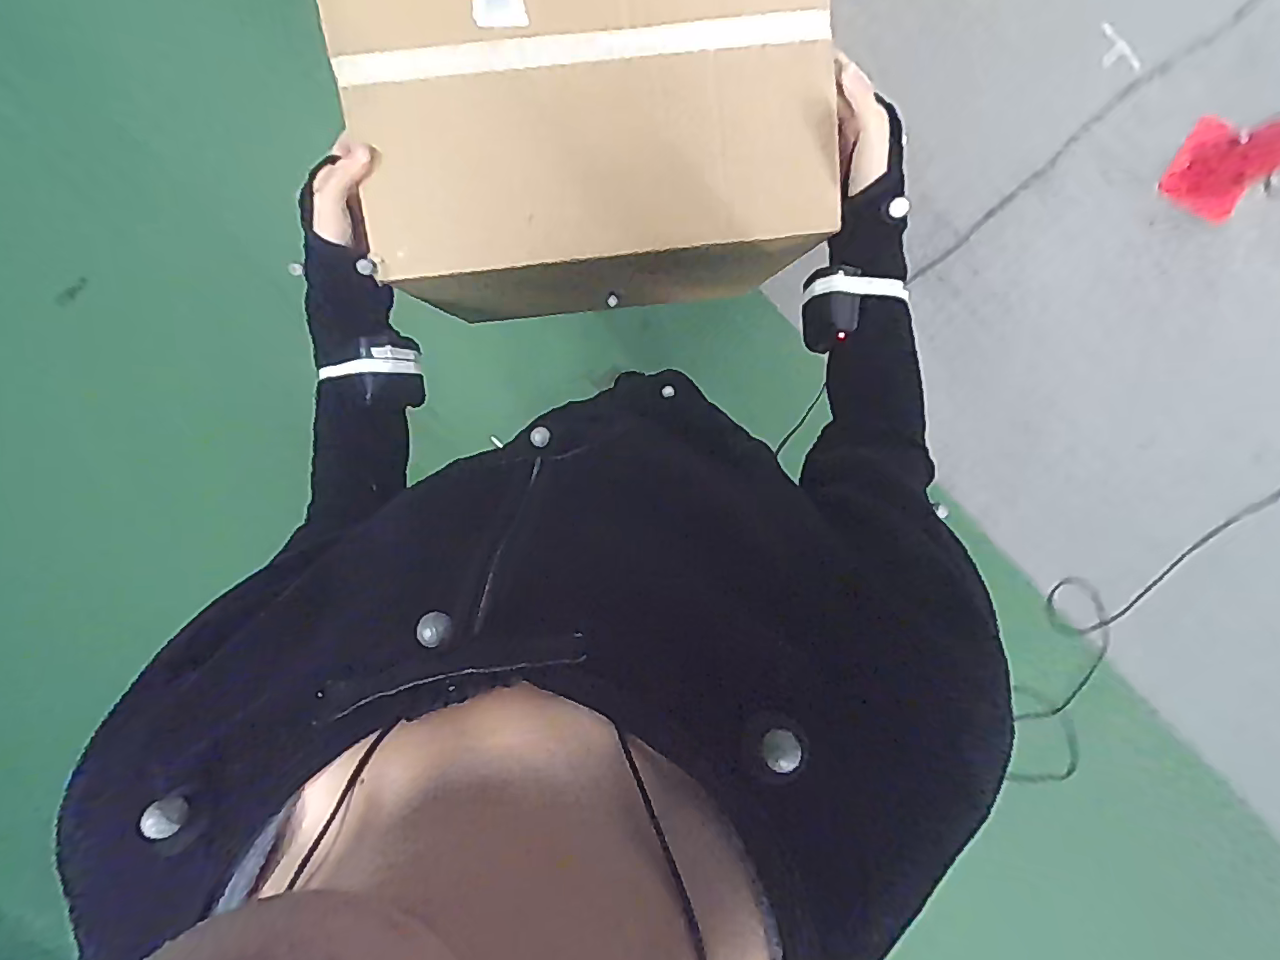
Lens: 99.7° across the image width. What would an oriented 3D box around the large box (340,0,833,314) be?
[{"bbox_3d":[-0.045,-0.374,0.597,0.408,0.320,0.320,-6,100,-2],"label":"large box"}]
